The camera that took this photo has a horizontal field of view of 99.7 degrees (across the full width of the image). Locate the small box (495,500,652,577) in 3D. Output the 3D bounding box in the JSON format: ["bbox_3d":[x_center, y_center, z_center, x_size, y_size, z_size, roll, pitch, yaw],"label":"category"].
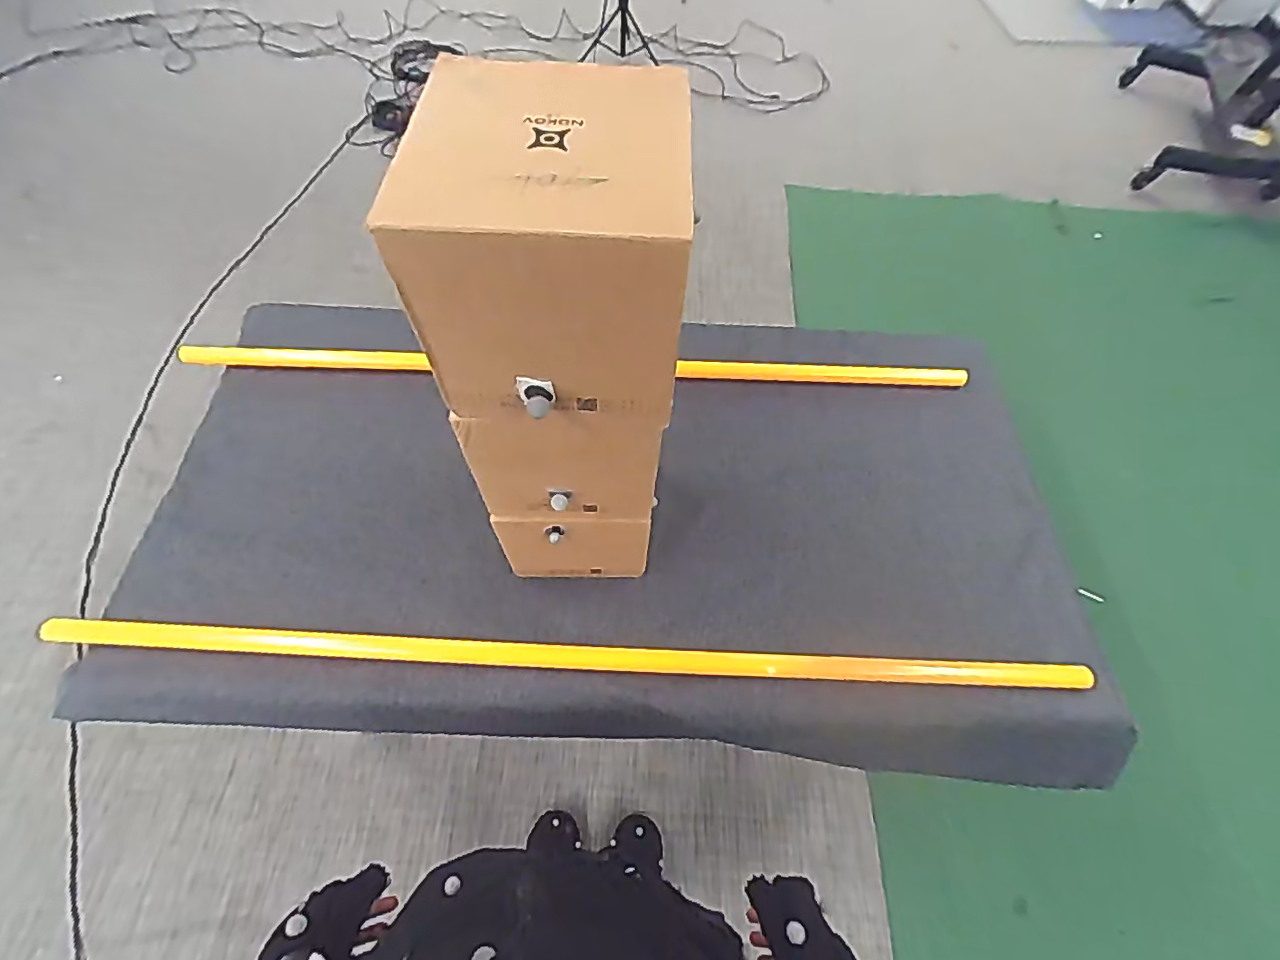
[{"bbox_3d":[-0.072,0.008,0.669,0.168,0.176,0.179,0,60,-1],"label":"small box"}]

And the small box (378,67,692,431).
[{"bbox_3d":[-0.054,-0.156,0.387,0.168,0.176,0.179,1,61,0],"label":"small box"}]

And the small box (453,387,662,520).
[{"bbox_3d":[-0.065,-0.078,0.529,0.168,0.176,0.179,2,61,-1],"label":"small box"}]
